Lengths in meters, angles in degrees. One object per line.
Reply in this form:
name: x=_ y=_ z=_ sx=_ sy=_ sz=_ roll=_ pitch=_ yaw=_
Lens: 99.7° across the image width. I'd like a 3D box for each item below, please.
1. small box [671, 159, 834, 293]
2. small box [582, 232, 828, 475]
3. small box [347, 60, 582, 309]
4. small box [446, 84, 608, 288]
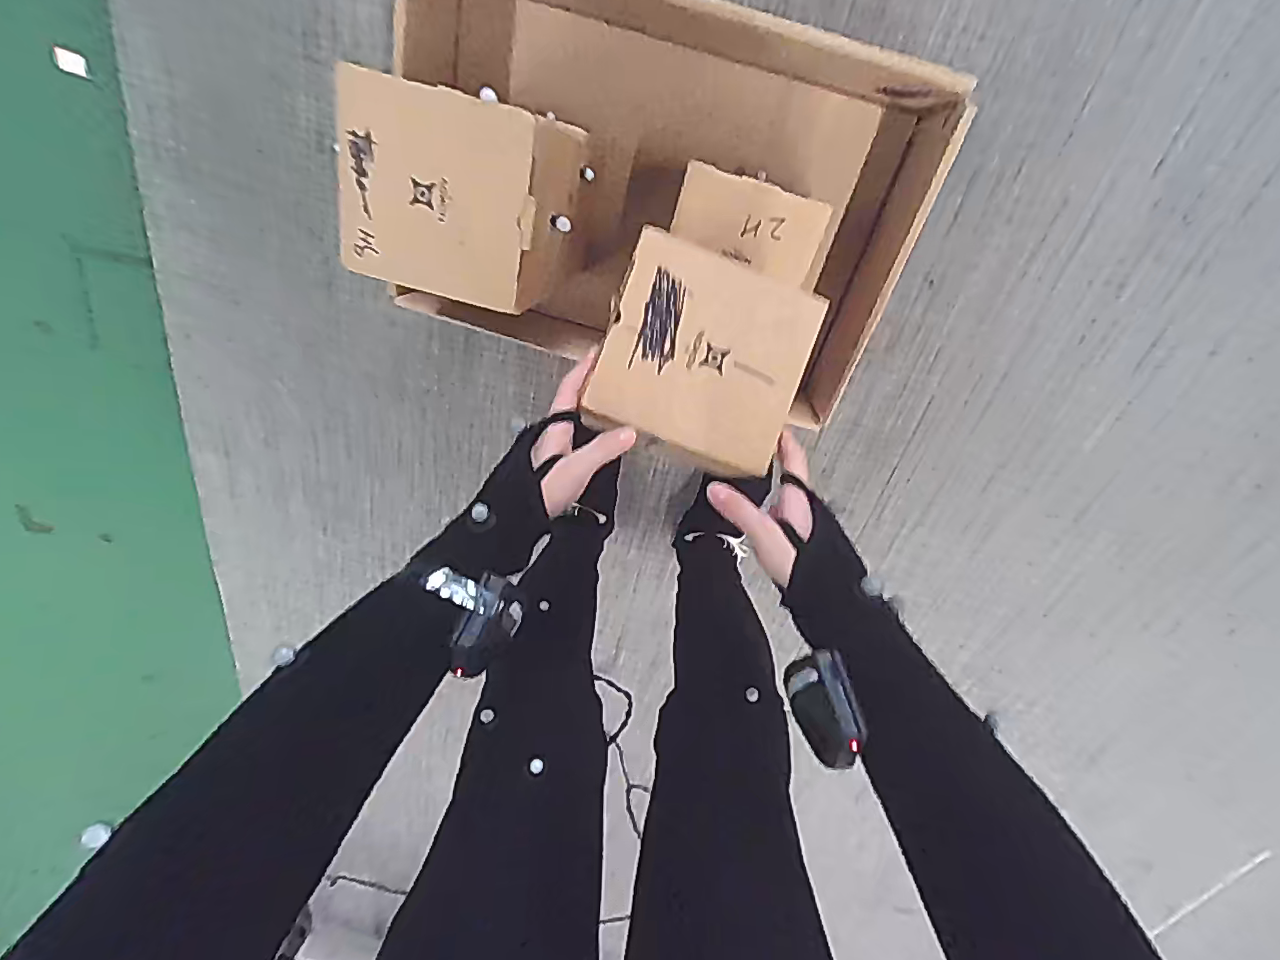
small box: x=0.124 y=-0.285 z=0.695 sx=0.168 sy=0.176 sz=0.179 roll=18 pitch=118 yaw=-1
small box: x=0.050 y=-0.107 z=0.544 sx=0.179 sy=0.176 sz=0.168 roll=21 pitch=87 yaw=-6
small box: x=-0.167 y=-0.290 z=0.551 sx=0.179 sy=0.176 sz=0.168 roll=15 pitch=117 yaw=-1
small box: x=-0.147 y=-0.367 z=0.695 sx=0.168 sy=0.176 sz=0.179 roll=17 pitch=117 yaw=-1
